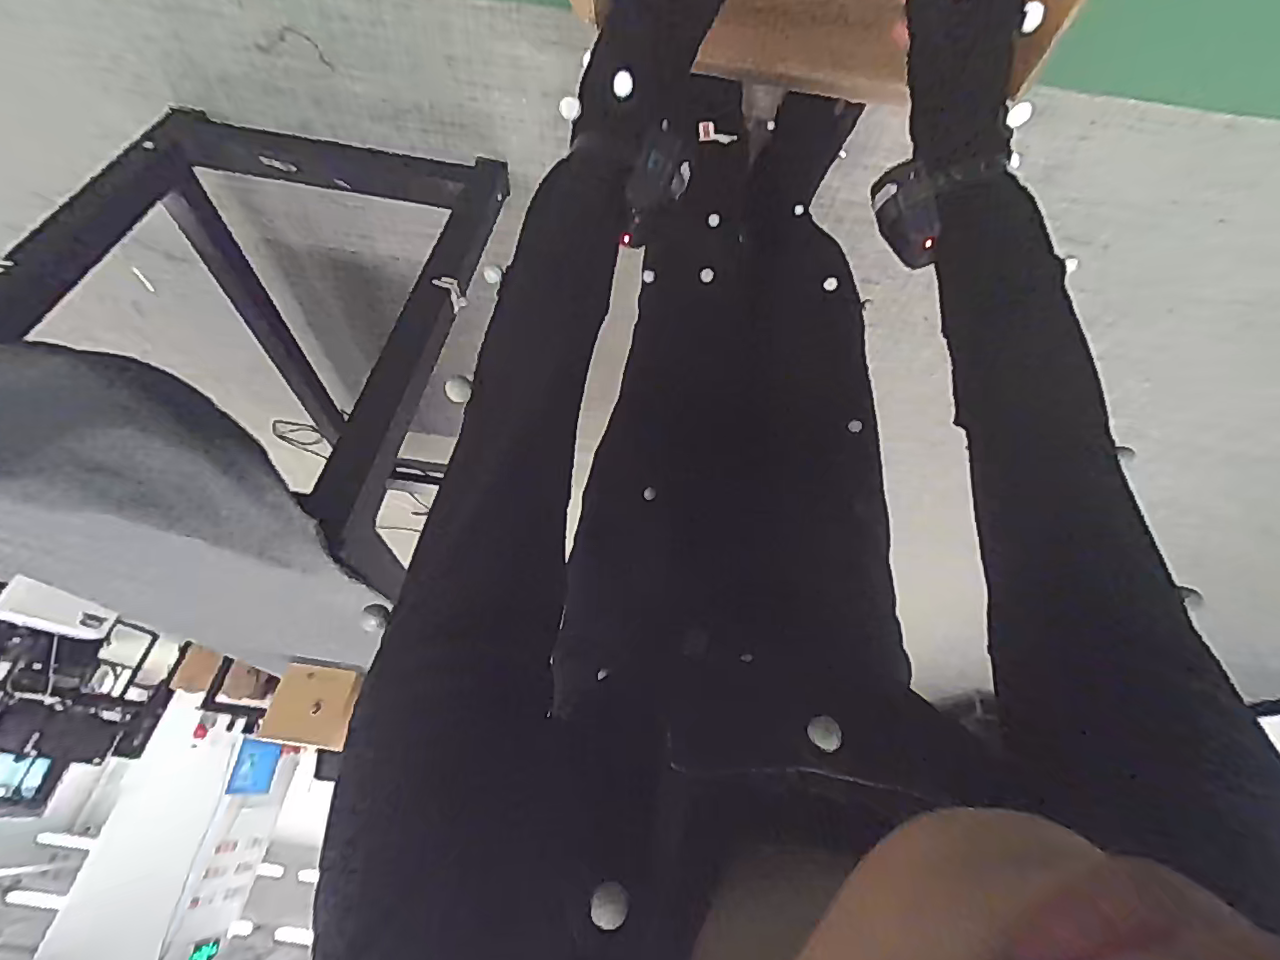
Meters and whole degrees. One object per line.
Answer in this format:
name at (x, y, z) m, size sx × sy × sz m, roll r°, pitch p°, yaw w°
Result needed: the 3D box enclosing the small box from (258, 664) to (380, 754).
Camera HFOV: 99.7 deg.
small box at (-0.752, 0.547, 1.288) m, size 0.168 × 0.176 × 0.179 m, roll 8°, pitch 150°, yaw 0°
